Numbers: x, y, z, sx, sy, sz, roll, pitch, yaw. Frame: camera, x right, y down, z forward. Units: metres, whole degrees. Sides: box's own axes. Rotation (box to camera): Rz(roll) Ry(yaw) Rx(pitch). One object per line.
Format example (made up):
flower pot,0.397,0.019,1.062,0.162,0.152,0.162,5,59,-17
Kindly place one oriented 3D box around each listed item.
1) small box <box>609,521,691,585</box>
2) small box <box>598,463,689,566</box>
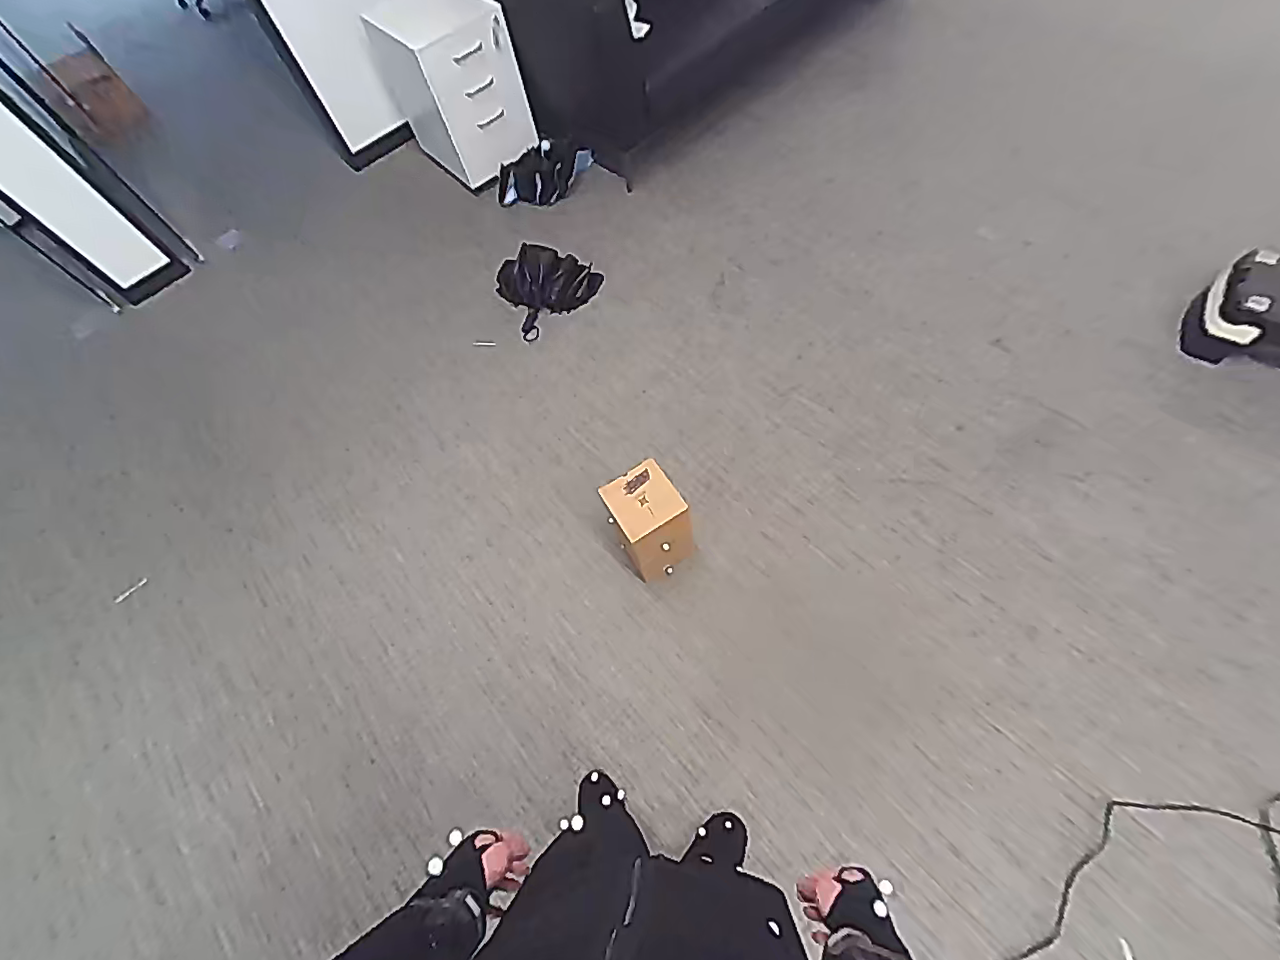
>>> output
small box,0.032,0.172,1.550,0.168,0.176,0.179,-32,64,-8
small box,0.013,0.095,1.406,0.168,0.176,0.179,-31,63,-8
